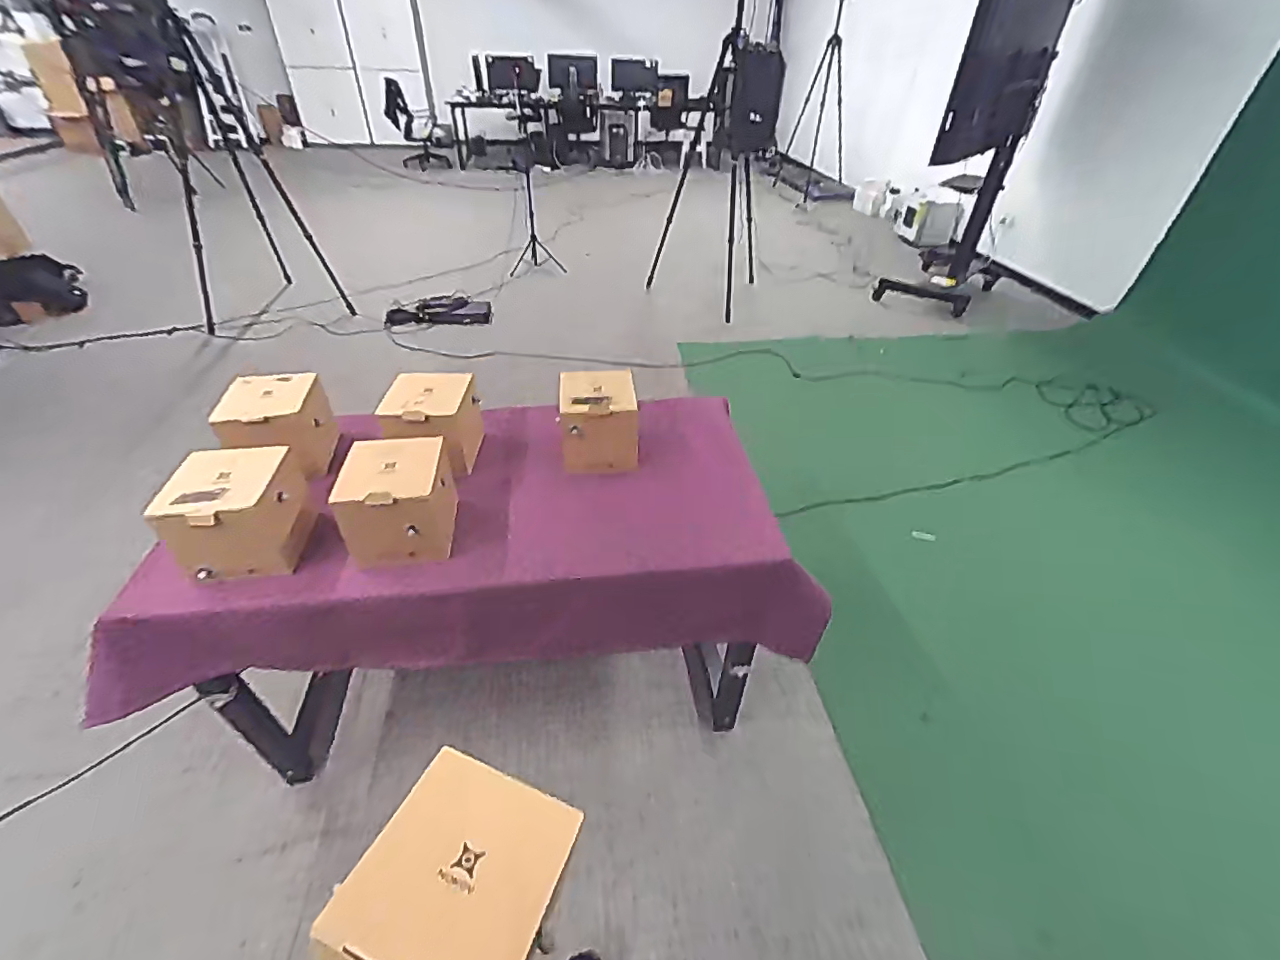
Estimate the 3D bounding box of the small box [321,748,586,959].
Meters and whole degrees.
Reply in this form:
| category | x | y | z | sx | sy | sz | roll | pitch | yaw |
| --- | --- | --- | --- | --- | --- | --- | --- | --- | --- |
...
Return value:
| category | x | y | z | sx | sy | sz | roll | pitch | yaw |
| --- | --- | --- | --- | --- | --- | --- | --- | --- | --- |
| small box | -0.174 | 0.414 | 0.524 | 0.168 | 0.176 | 0.179 | 21 | 30 | 10 |

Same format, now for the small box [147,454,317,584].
| category | x | y | z | sx | sy | sz | roll | pitch | yaw |
| --- | --- | --- | --- | --- | --- | --- | --- | --- | --- |
| small box | -0.721 | 0.074 | 0.984 | 0.168 | 0.176 | 0.179 | -4 | 38 | -8 |

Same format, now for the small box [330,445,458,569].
| category | x | y | z | sx | sy | sz | roll | pitch | yaw |
| --- | --- | --- | --- | --- | --- | --- | --- | --- | --- |
| small box | -0.450 | 0.054 | 1.023 | 0.168 | 0.176 | 0.179 | -3 | 39 | -7 |

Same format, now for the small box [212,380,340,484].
| category | x | y | z | sx | sy | sz | roll | pitch | yaw |
| --- | --- | --- | --- | --- | --- | --- | --- | --- | --- |
| small box | -0.786 | -0.099 | 1.193 | 0.168 | 0.176 | 0.179 | -6 | 41 | -11 |

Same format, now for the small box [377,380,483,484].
| category | x | y | z | sx | sy | sz | roll | pitch | yaw |
| --- | --- | --- | --- | --- | --- | --- | --- | --- | --- |
| small box | -0.461 | -0.110 | 1.220 | 0.168 | 0.176 | 0.179 | 0 | 40 | -2 |
